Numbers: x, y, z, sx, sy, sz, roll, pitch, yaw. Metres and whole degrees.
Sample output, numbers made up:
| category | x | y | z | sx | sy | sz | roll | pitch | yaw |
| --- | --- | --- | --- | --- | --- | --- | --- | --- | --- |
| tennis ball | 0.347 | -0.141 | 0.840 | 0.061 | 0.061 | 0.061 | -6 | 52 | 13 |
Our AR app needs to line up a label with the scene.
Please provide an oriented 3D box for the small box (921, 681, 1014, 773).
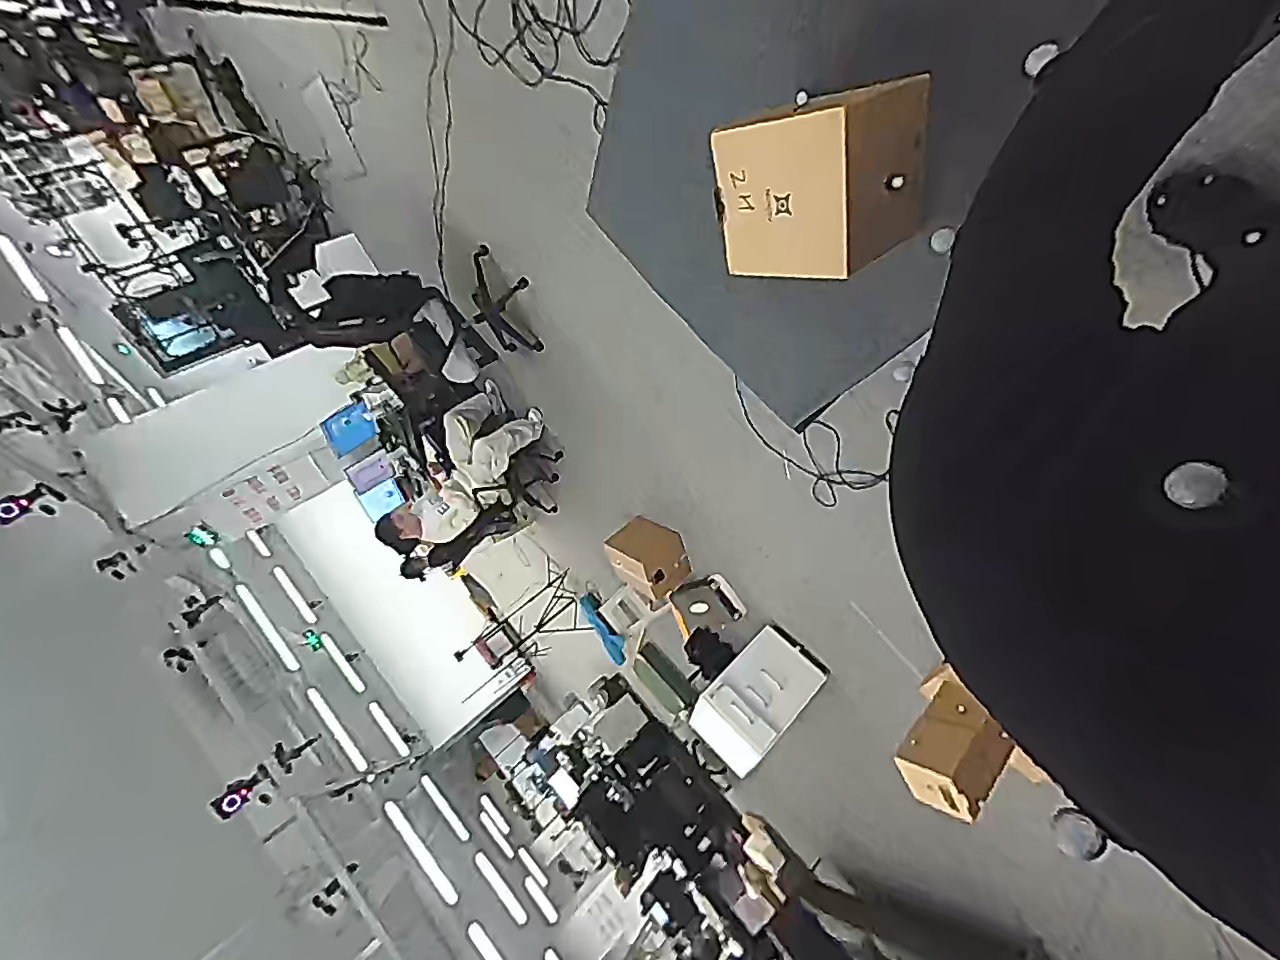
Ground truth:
| category | x | y | z | sx | sy | sz | roll | pitch | yaw |
| --- | --- | --- | --- | --- | --- | --- | --- | --- | --- |
| small box | 1.000 | 0.740 | 1.640 | 0.179 | 0.176 | 0.168 | -13 | 110 | 59 |

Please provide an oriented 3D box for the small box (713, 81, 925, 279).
| category | x | y | z | sx | sy | sz | roll | pitch | yaw |
| --- | --- | --- | --- | --- | --- | --- | --- | --- | --- |
| small box | 0.218 | -0.356 | 0.653 | 0.179 | 0.176 | 0.168 | 25 | 141 | 44 |
